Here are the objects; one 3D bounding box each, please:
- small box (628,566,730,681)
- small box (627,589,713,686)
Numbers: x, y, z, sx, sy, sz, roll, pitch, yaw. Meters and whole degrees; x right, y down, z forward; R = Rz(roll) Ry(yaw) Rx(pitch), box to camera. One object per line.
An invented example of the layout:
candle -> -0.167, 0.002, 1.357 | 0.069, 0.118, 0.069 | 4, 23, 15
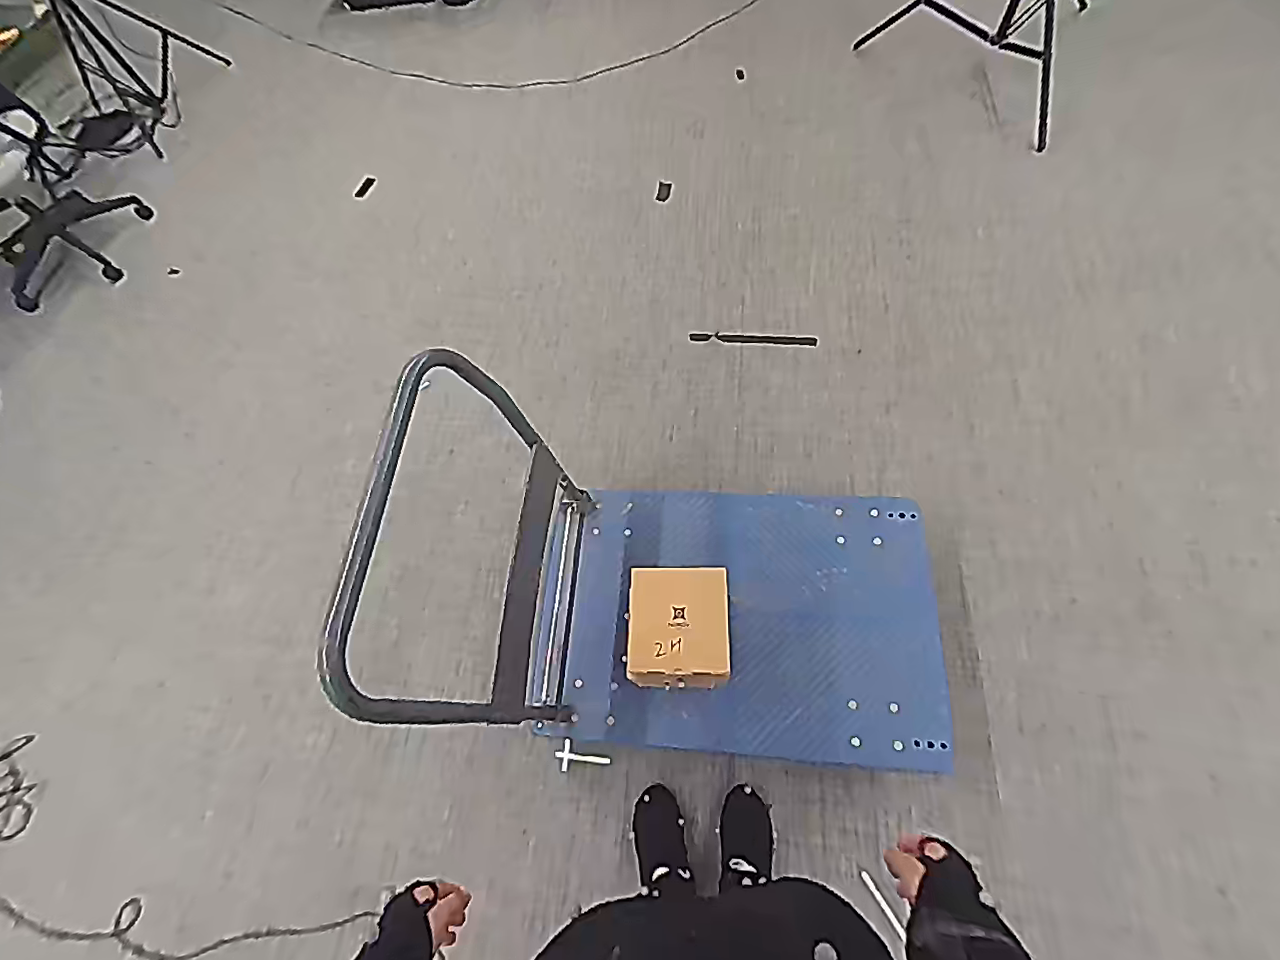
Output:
small box -> 0.073, 0.261, 0.971 | 0.168, 0.176, 0.179 | -2, 66, 7
small box -> 0.067, 0.328, 1.123 | 0.168, 0.176, 0.179 | -2, 66, 7
